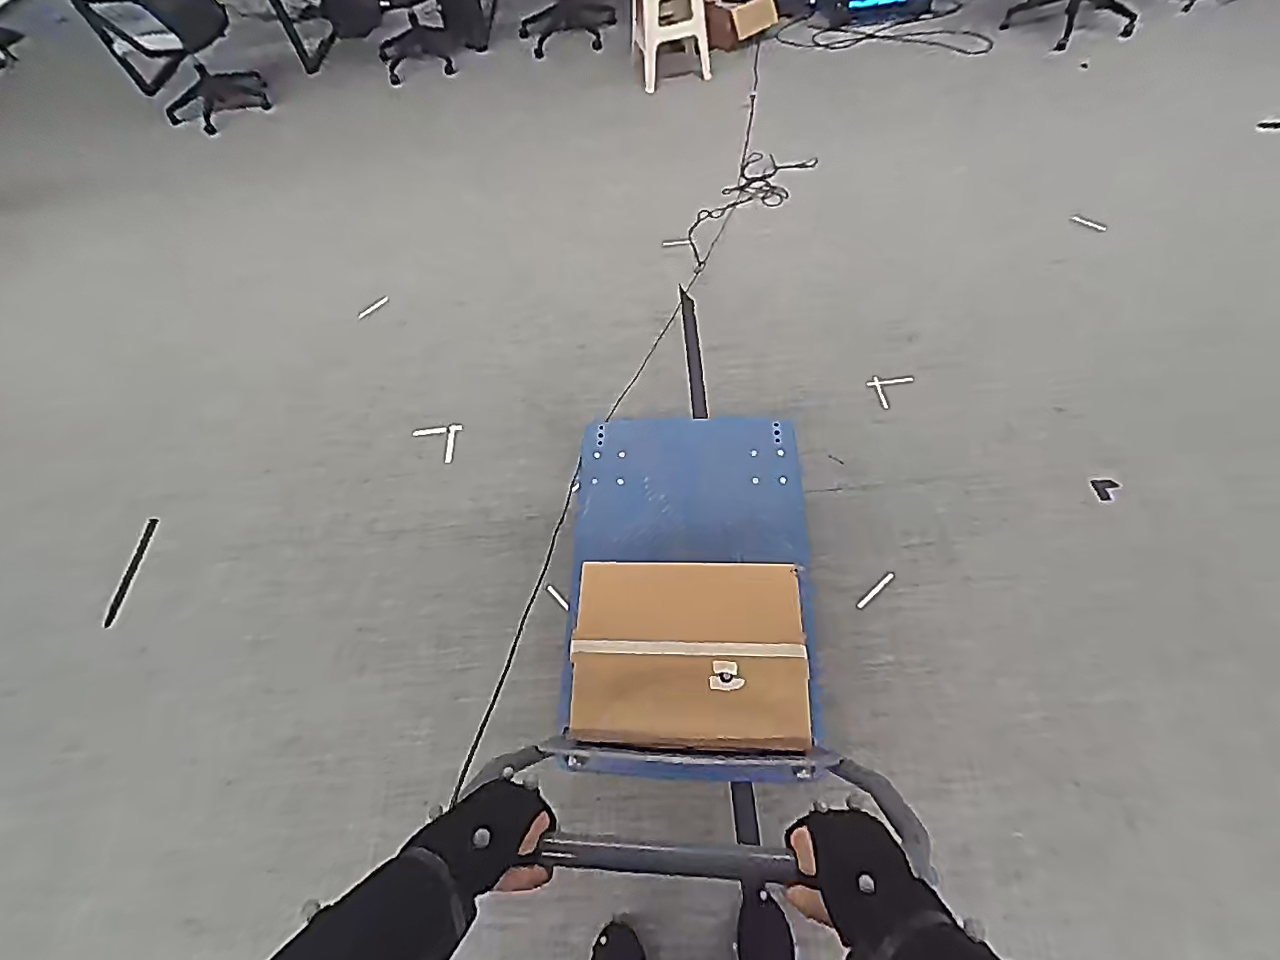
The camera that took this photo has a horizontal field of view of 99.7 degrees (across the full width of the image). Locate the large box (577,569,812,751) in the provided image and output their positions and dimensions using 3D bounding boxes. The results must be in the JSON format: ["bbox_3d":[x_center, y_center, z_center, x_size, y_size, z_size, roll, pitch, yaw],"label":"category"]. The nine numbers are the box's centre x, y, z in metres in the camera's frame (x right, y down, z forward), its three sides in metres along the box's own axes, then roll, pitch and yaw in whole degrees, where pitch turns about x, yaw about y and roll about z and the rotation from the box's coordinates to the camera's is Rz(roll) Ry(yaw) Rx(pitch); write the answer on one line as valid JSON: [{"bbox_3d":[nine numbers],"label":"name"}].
[{"bbox_3d":[0.100,0.375,1.102,0.408,0.320,0.320,-1,65,5],"label":"large box"}]
